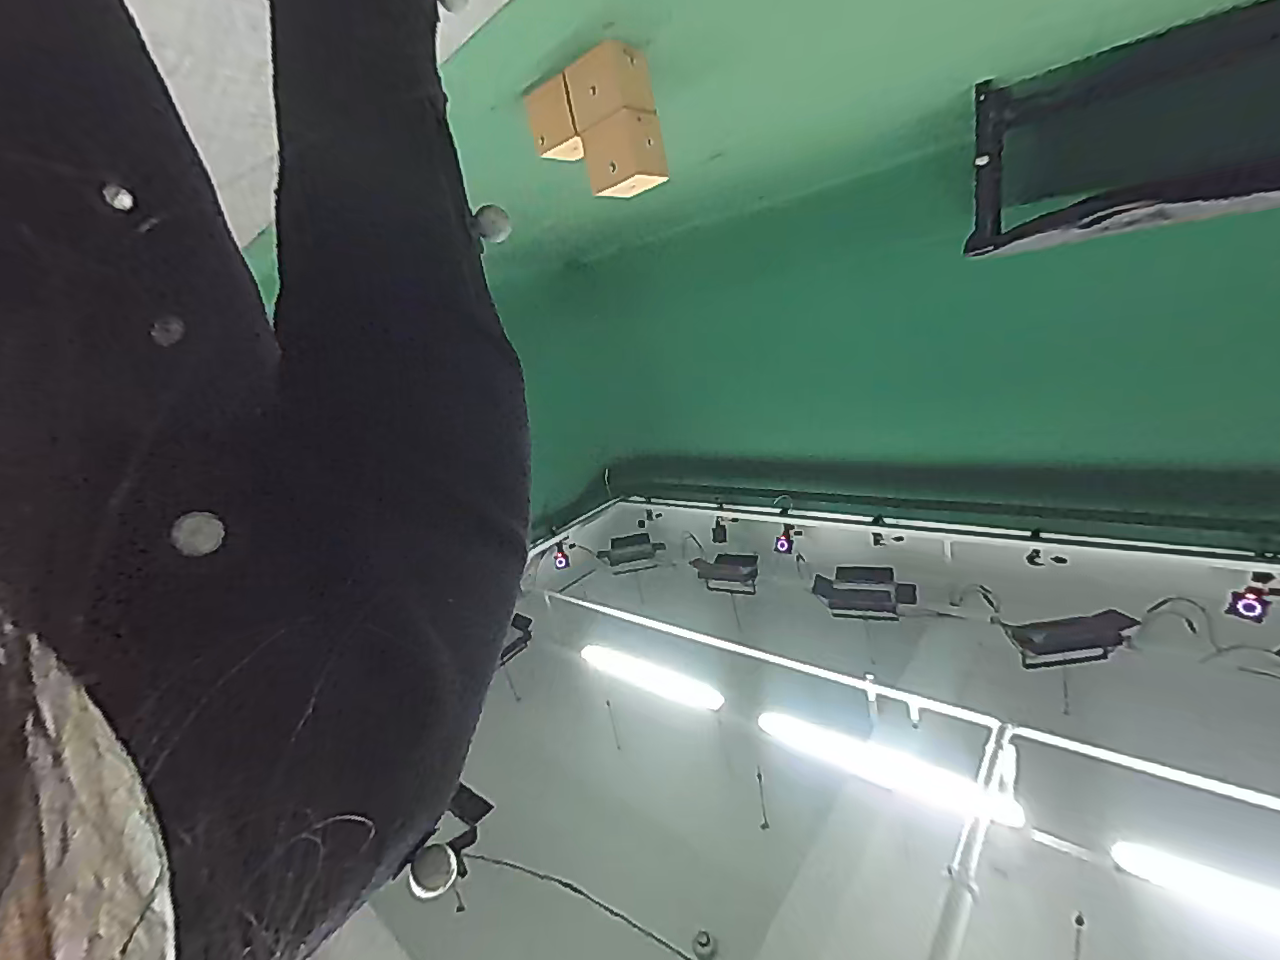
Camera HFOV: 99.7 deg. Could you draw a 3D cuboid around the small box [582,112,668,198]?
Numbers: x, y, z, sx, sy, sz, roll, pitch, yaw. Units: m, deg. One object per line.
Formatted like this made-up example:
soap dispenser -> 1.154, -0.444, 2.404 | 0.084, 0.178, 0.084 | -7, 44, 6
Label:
small box -> -0.046, -0.942, 1.575 | 0.179, 0.176, 0.168 | 1, -160, 40
